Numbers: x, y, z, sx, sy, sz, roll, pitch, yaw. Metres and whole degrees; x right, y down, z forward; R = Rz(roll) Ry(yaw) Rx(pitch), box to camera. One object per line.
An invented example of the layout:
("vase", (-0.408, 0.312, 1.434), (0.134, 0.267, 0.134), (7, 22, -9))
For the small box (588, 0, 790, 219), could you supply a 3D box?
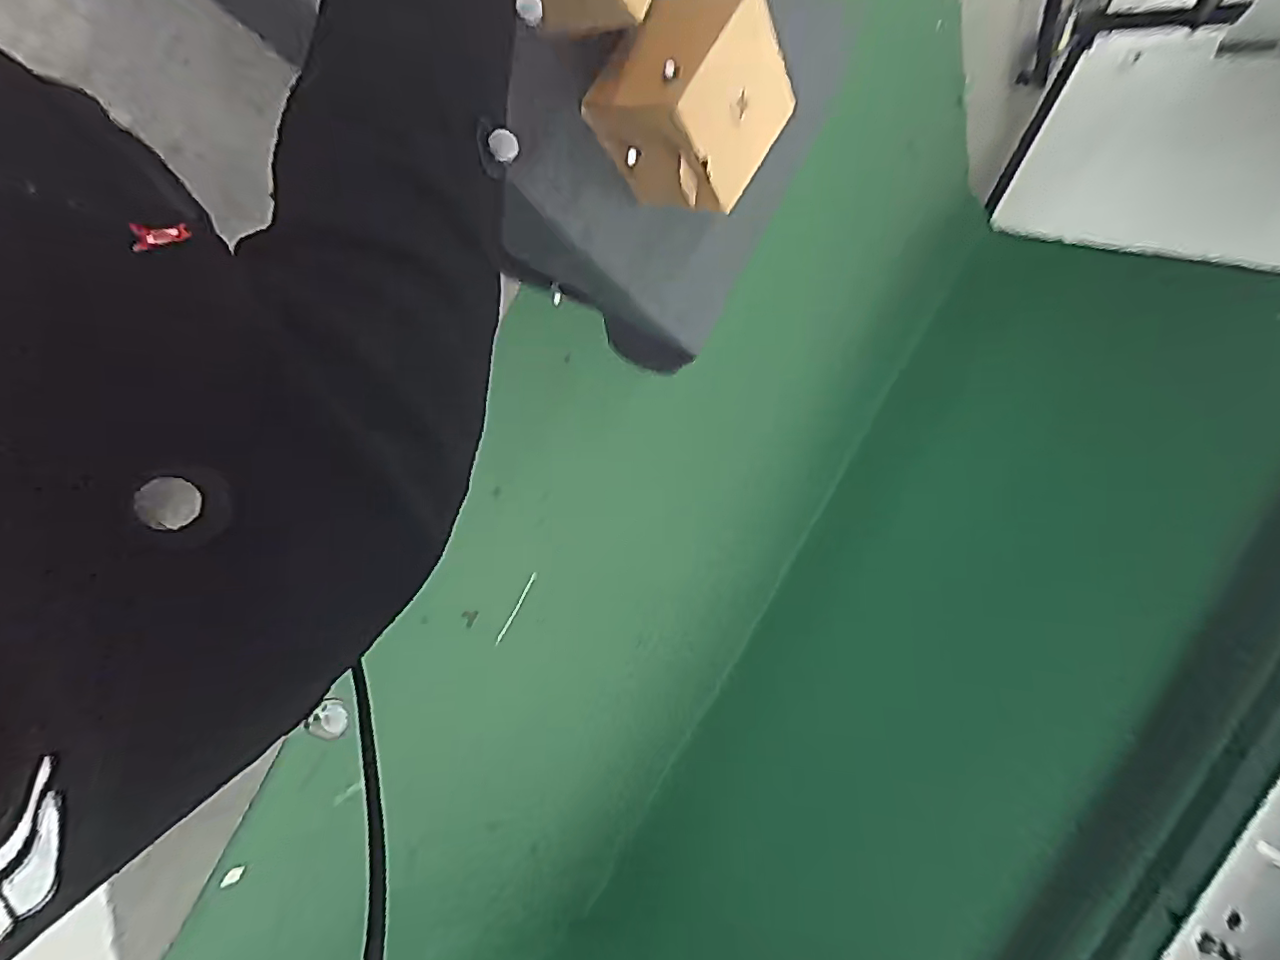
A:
("small box", (0.064, -0.482, 0.708), (0.179, 0.176, 0.168), (-58, 145, -2))
